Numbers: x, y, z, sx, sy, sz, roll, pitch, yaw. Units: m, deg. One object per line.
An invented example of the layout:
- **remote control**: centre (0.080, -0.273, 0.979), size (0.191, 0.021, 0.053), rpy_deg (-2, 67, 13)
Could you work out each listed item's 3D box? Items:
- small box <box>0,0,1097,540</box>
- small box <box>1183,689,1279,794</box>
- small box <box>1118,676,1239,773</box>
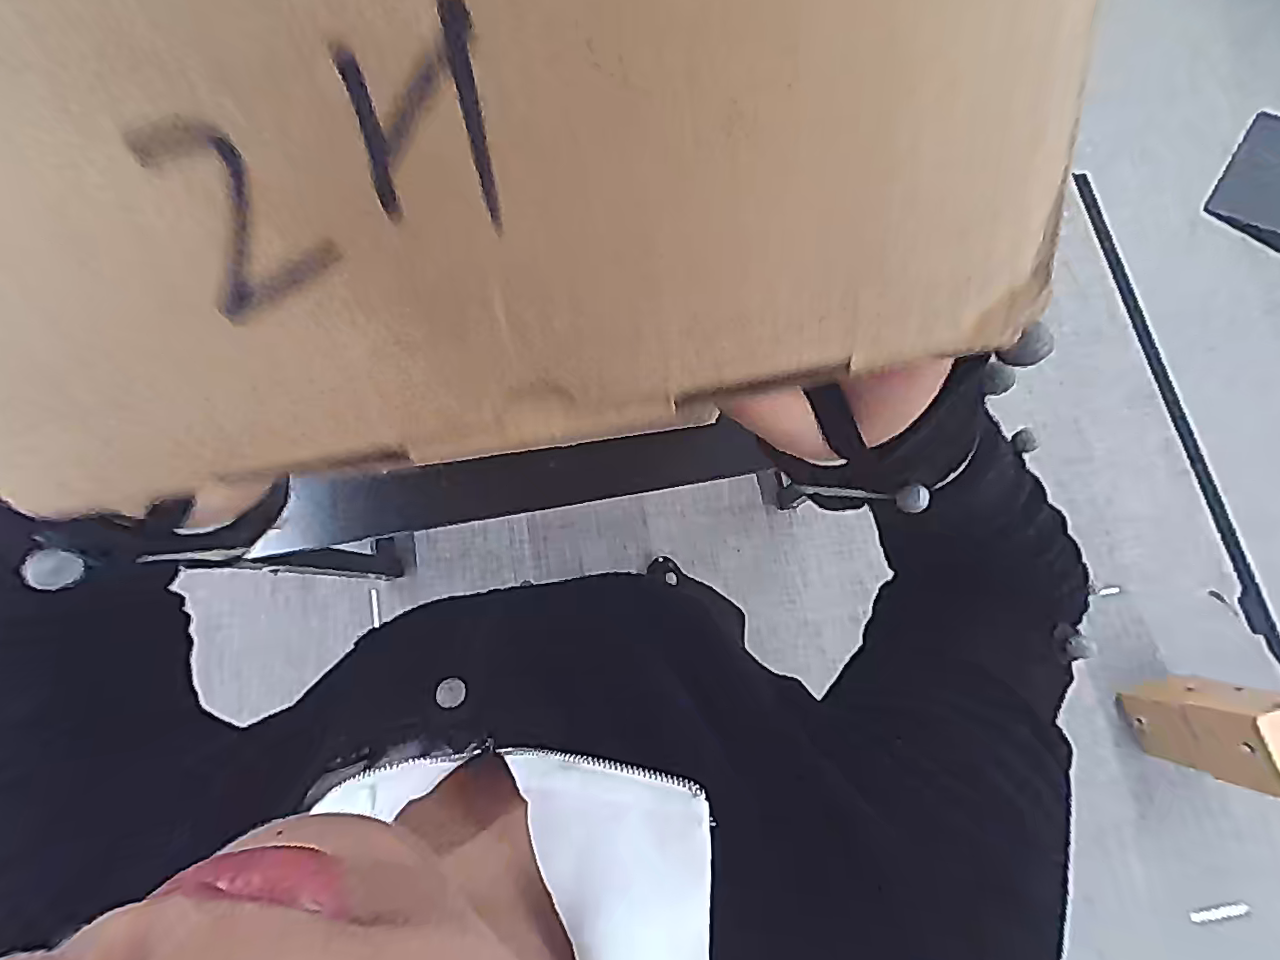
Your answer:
- **small box**: centre (-0.038, -0.115, 0.121), size (0.168, 0.176, 0.179), rpy_deg (-10, 117, -1)
- **small box**: centre (1.394, 0.579, 1.209), size (0.168, 0.176, 0.179), rpy_deg (-14, 78, -3)
- **small box**: centre (1.389, 0.610, 1.371), size (0.179, 0.176, 0.168), rpy_deg (-16, 77, -3)
